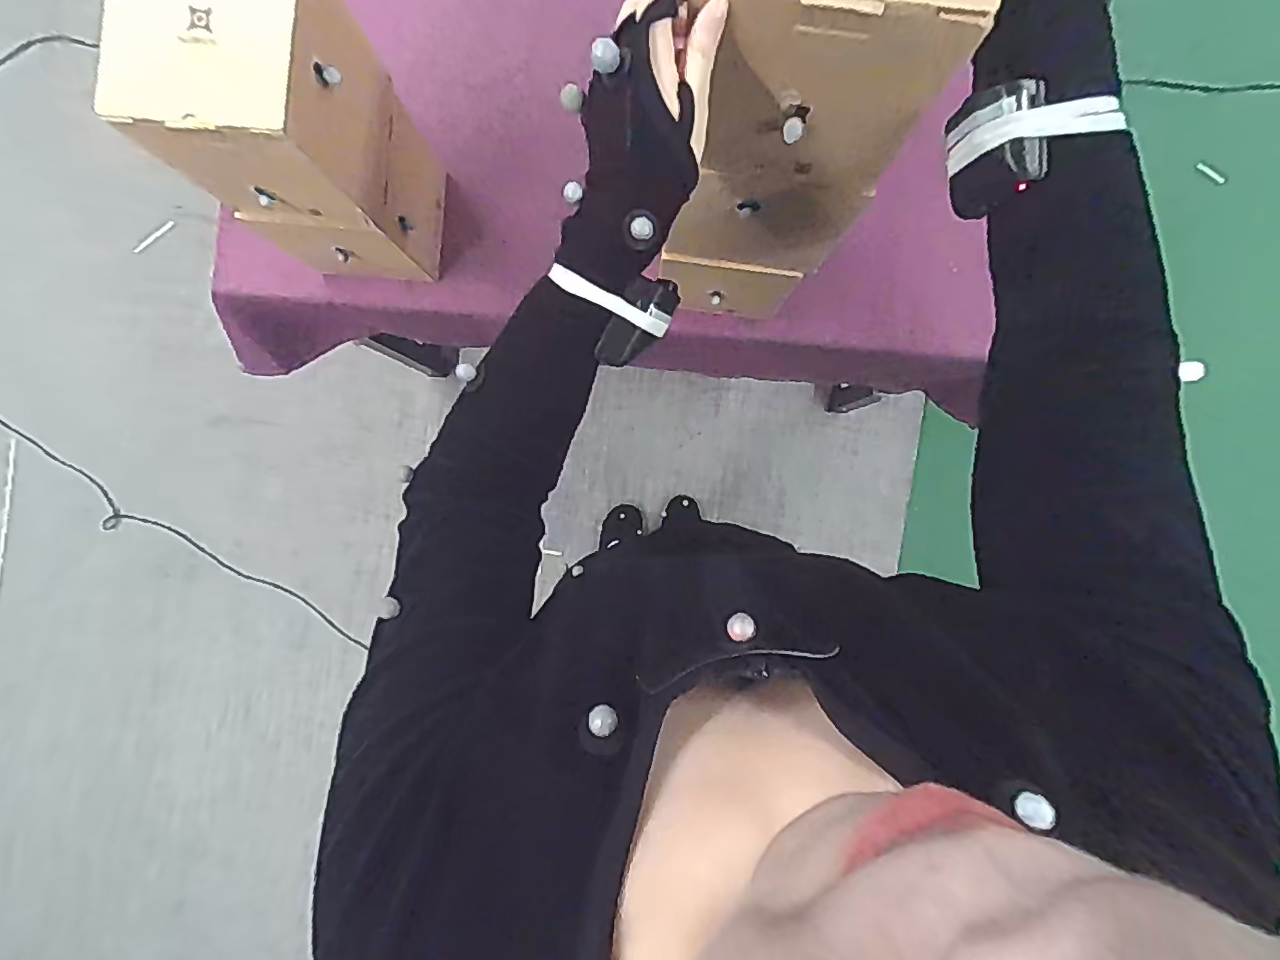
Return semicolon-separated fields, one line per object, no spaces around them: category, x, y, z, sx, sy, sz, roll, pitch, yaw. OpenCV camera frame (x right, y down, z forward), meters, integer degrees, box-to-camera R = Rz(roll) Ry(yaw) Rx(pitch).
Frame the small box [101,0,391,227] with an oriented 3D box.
small box;-0.370;-0.385;0.541;0.168;0.176;0.179;5;90;0

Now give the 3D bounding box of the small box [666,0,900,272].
small box;0.124;-0.326;0.539;0.179;0.176;0.168;9;90;0

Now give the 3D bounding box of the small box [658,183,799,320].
small box;0.116;-0.323;0.703;0.168;0.176;0.179;8;90;0
